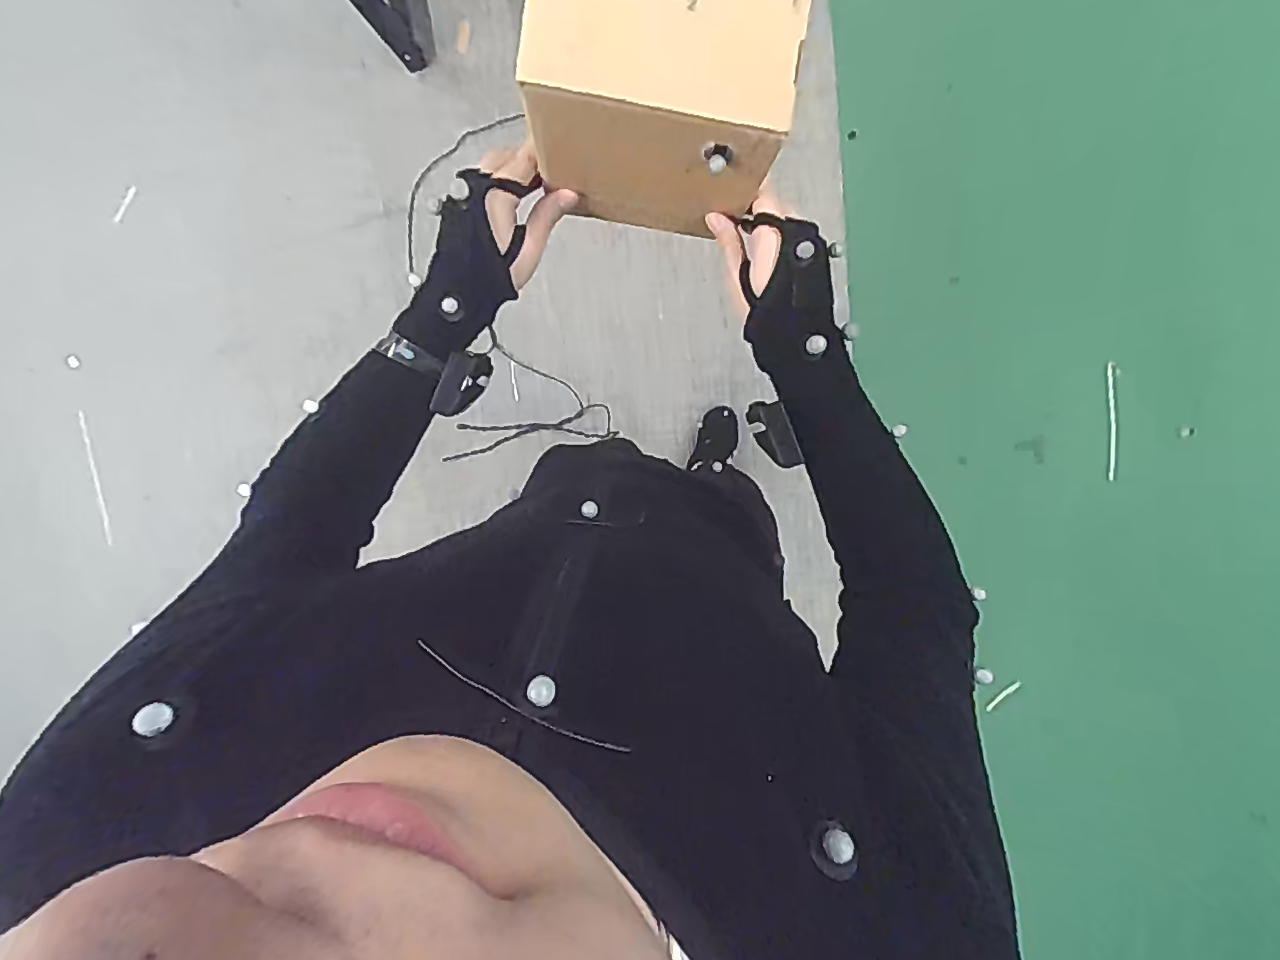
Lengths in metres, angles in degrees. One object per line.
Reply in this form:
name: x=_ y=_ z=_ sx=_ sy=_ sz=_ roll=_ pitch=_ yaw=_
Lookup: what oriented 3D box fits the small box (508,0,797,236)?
small box: x=0.009 y=-0.311 z=0.417 sx=0.179 sy=0.176 sz=0.168 roll=7 pitch=91 yaw=-5
